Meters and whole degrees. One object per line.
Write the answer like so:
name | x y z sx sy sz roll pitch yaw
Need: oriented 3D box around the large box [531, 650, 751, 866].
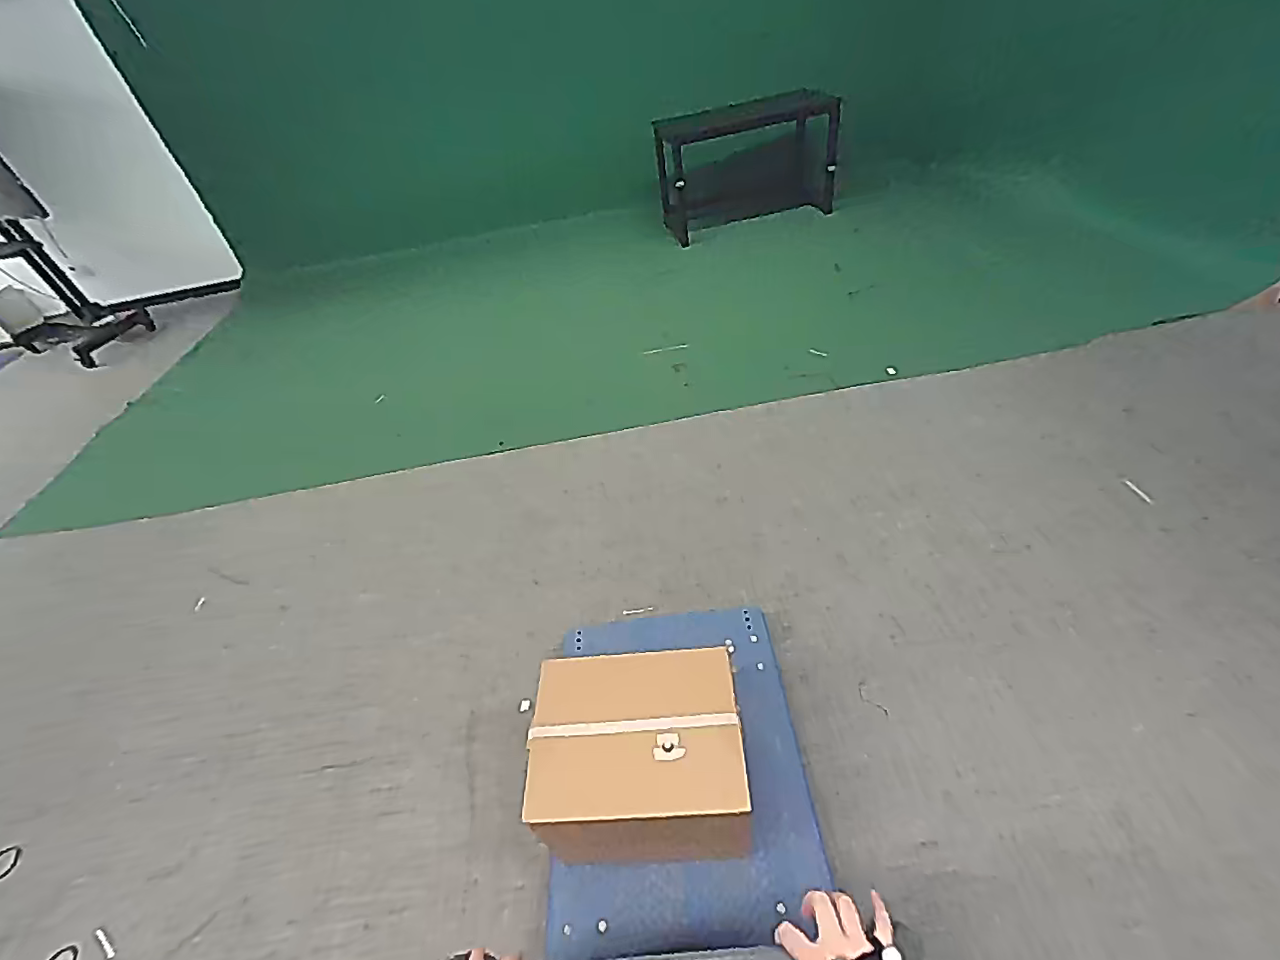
large box | 0.010 0.599 1.164 0.408 0.320 0.320 -5 42 4
